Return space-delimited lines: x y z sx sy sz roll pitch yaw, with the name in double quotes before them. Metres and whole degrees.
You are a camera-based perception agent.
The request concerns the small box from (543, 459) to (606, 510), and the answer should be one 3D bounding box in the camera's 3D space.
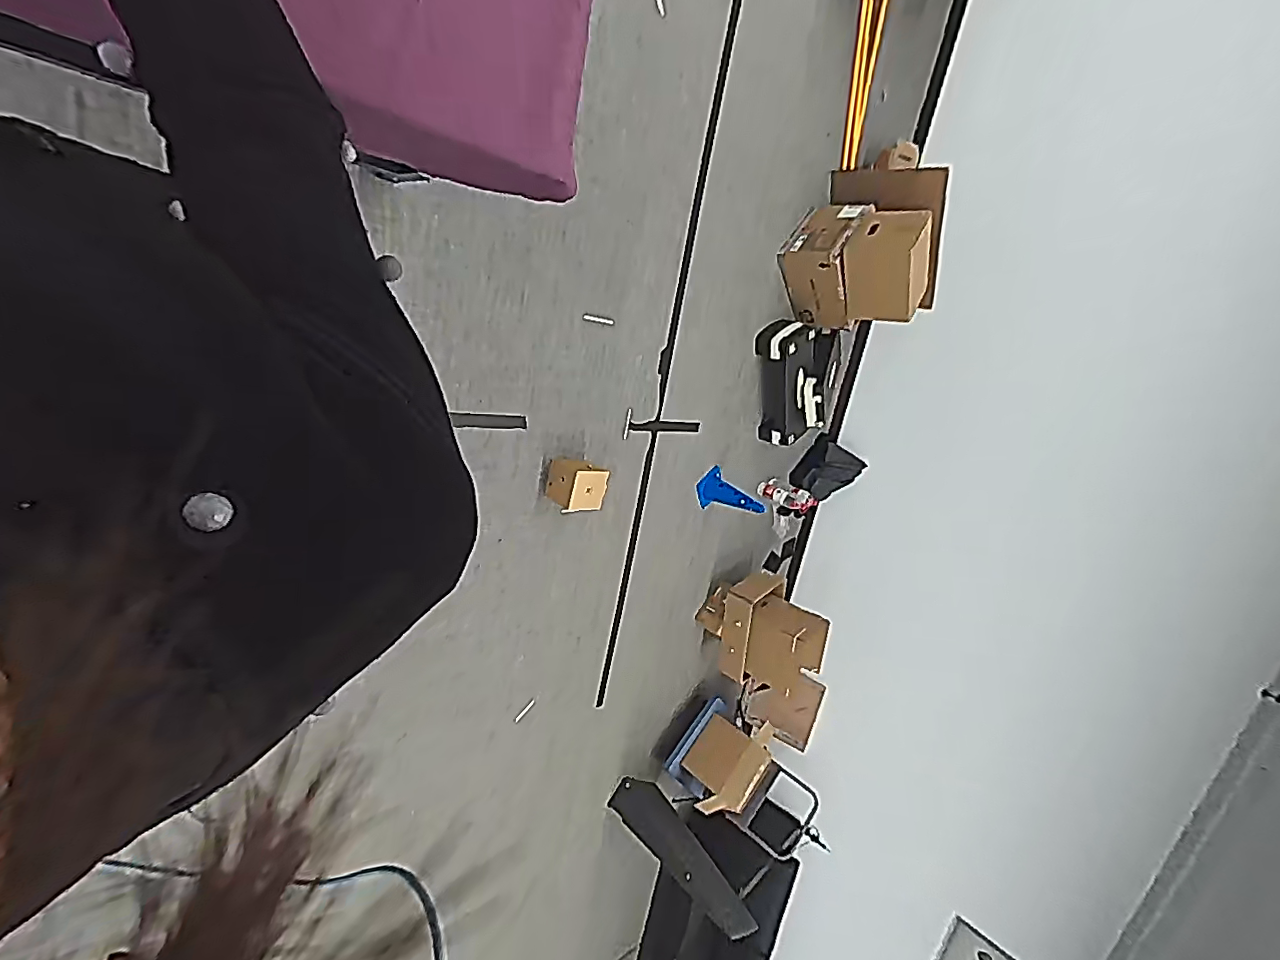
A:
"small box" -0.268 0.017 2.180 0.179 0.176 0.168 0 109 -49
